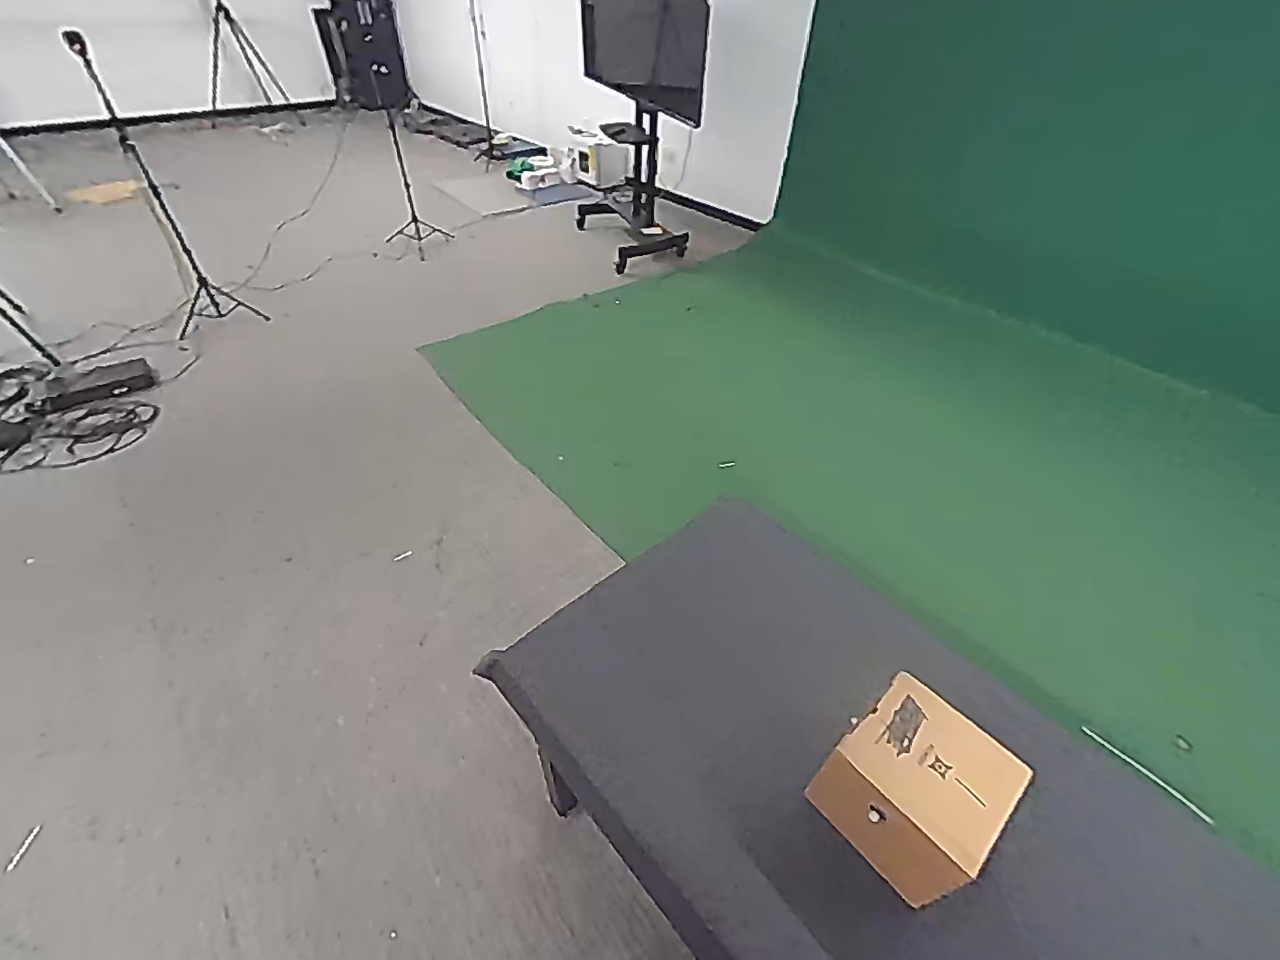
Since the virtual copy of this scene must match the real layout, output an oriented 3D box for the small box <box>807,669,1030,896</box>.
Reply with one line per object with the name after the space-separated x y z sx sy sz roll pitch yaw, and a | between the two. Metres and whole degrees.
0.348 0.395 0.708 0.168 0.176 0.179 -30 53 -29 | small box
